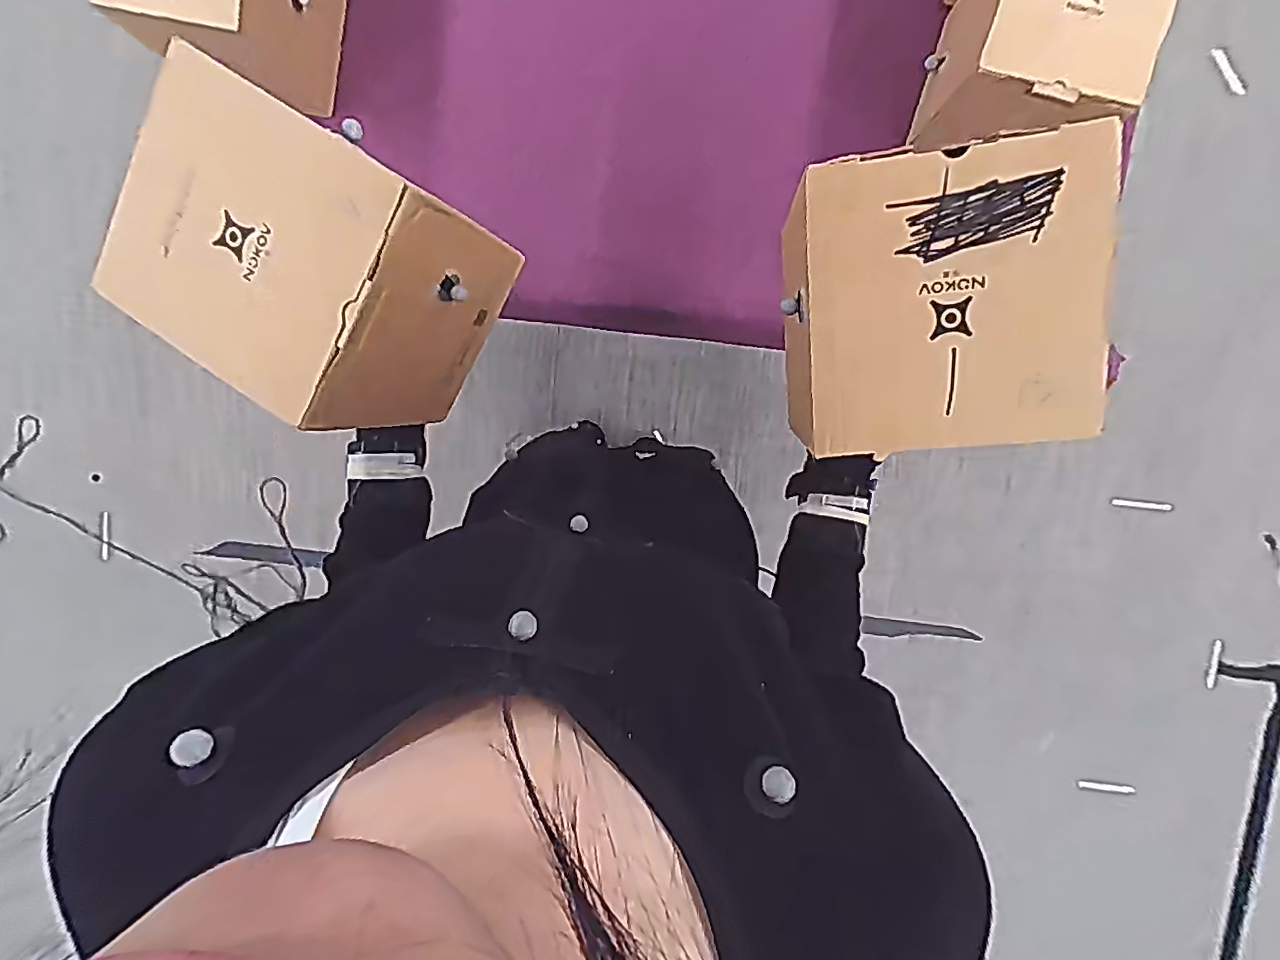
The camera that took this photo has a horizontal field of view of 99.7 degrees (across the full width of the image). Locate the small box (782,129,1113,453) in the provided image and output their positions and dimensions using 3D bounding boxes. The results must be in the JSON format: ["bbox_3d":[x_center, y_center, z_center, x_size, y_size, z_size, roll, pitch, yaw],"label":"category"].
[{"bbox_3d":[0.198,-0.121,0.402,0.168,0.176,0.179,-3,102,10],"label":"small box"}]

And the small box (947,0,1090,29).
[{"bbox_3d":[0.468,-0.660,0.596,0.168,0.176,0.179,10,95,0],"label":"small box"}]

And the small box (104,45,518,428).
[{"bbox_3d":[-0.222,-0.157,0.406,0.179,0.176,0.168,33,102,5],"label":"small box"}]
